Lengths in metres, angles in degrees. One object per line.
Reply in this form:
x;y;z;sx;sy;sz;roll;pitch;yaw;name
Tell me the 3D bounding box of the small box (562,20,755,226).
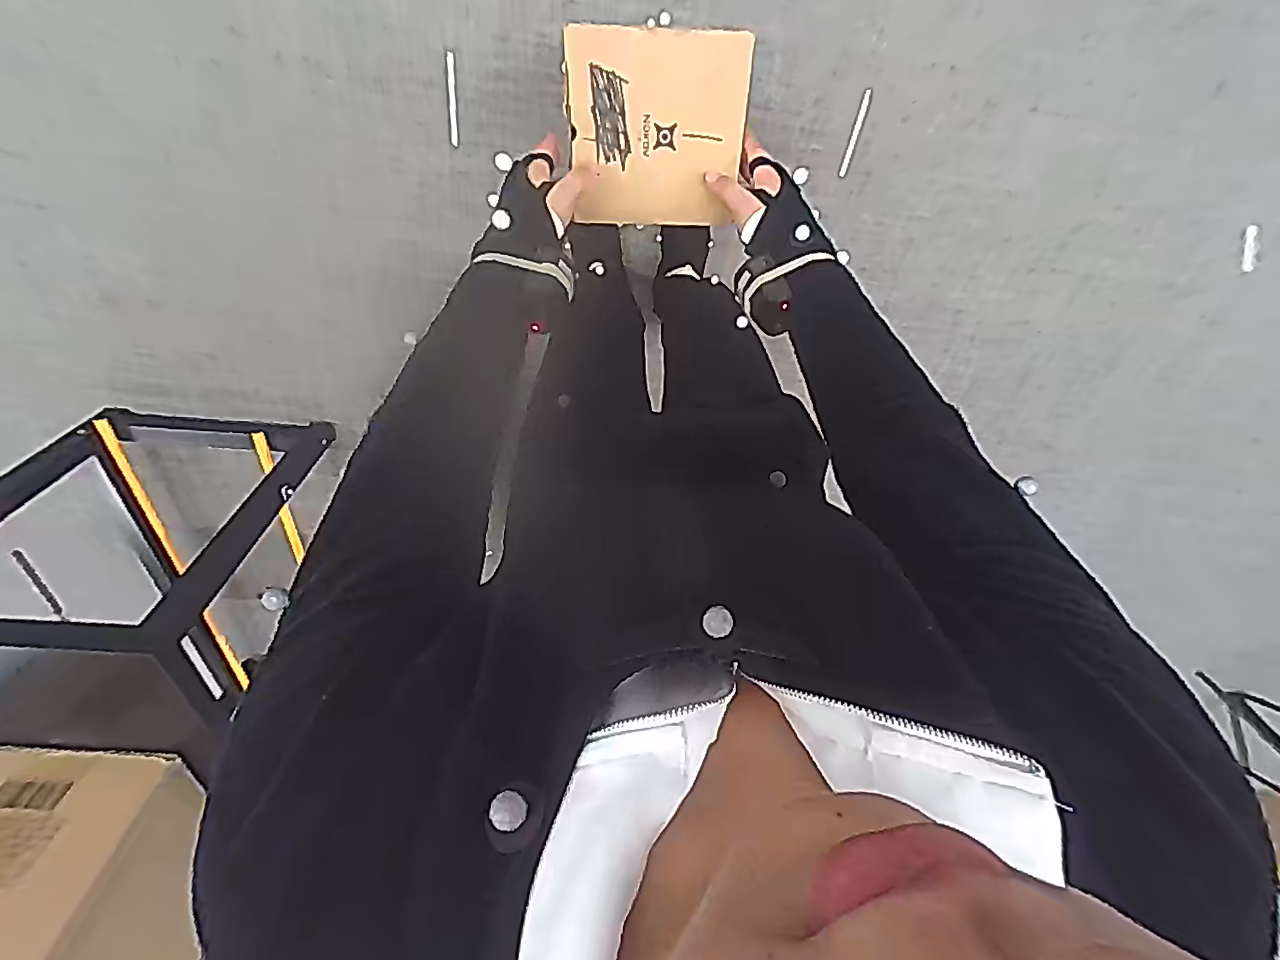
0.013;-0.388;0.594;0.179;0.176;0.168;0;128;-2;small box
